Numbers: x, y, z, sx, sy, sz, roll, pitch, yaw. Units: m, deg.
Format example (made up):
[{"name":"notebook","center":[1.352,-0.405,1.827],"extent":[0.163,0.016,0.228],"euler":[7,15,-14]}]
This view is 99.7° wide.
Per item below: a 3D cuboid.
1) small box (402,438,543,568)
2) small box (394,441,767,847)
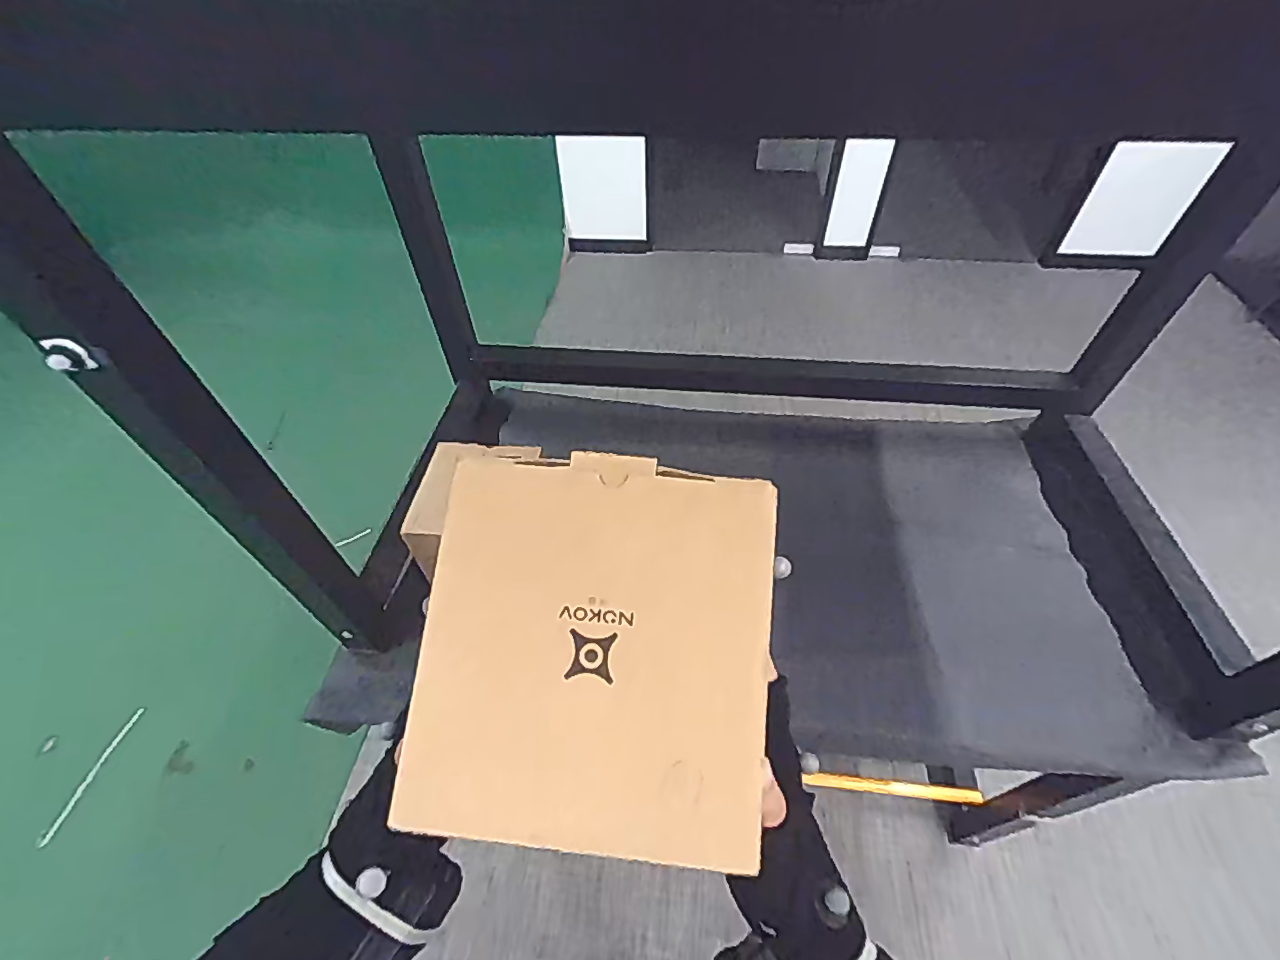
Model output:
[{"name":"small box","center":[-0.235,0.057,0.842],"extent":[0.168,0.176,0.179],"euler":[2,49,4]},{"name":"small box","center":[-0.021,0.088,0.337],"extent":[0.168,0.176,0.179],"euler":[5,76,3]}]
